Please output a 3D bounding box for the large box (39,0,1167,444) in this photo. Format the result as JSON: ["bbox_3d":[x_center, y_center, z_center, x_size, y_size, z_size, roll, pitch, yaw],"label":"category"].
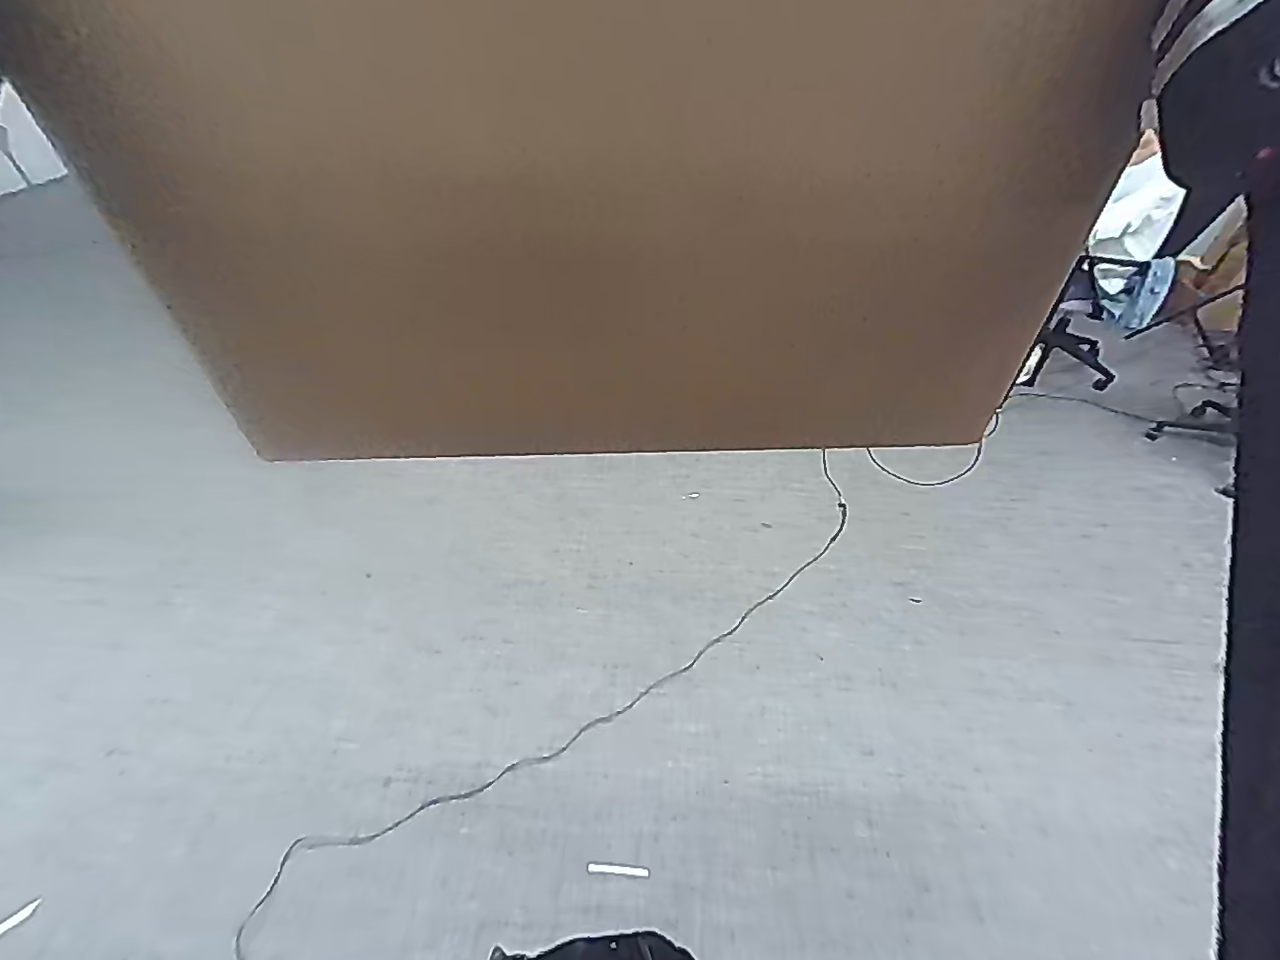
[{"bbox_3d":[-0.013,-0.235,0.324,0.408,0.320,0.320,-1,43,-1],"label":"large box"}]
